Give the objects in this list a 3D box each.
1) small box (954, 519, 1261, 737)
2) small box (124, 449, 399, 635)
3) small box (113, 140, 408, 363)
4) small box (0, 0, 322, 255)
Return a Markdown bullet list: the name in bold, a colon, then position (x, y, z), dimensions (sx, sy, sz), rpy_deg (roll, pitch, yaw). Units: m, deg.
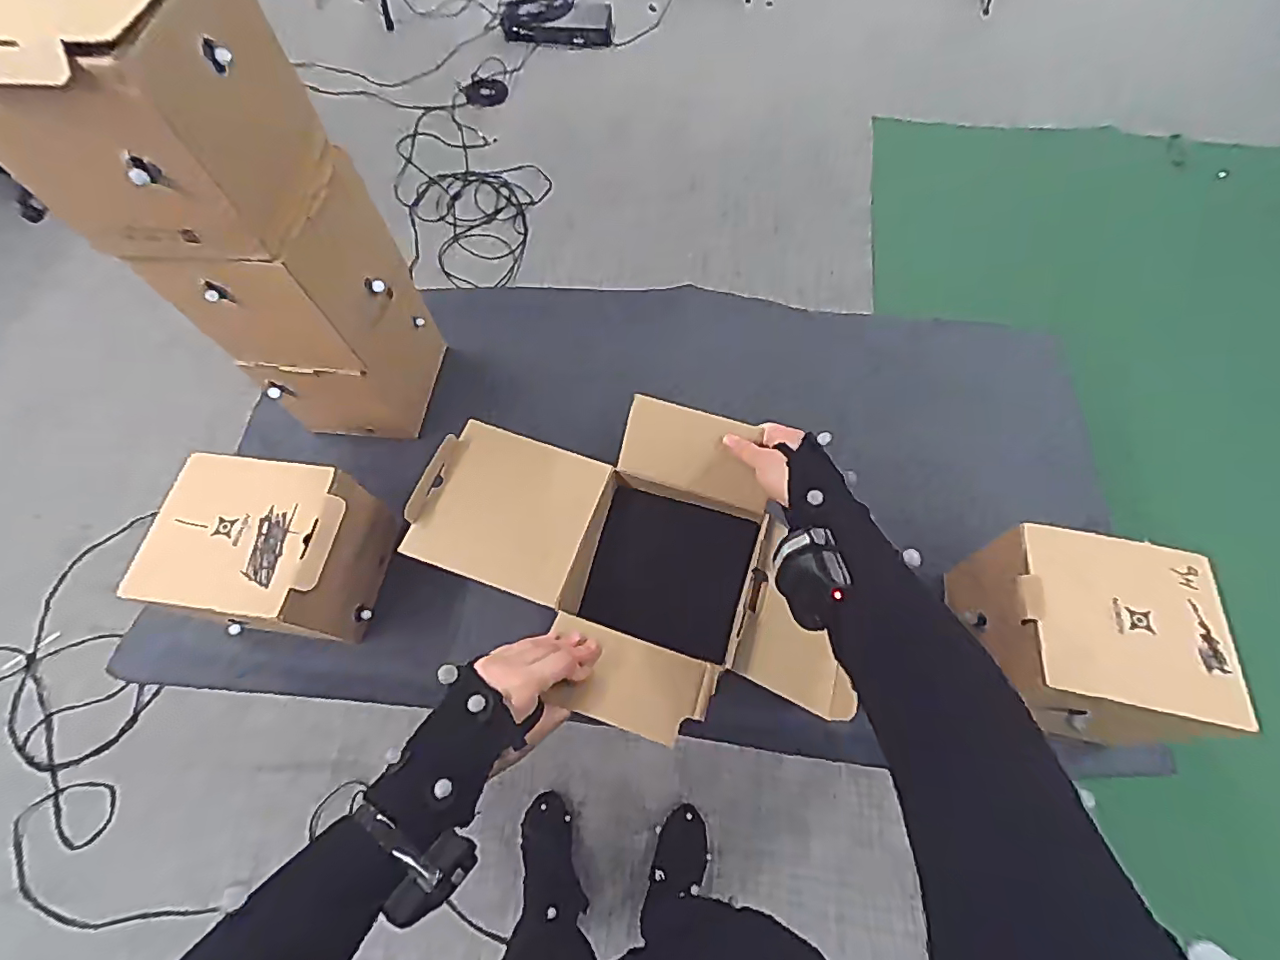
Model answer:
- **small box**: position (0.453, 0.162, 0.568), dimensions (0.179, 0.176, 0.168), rpy_deg (11, 62, 7)
- **small box**: position (-0.416, 0.081, 0.636), dimensions (0.179, 0.176, 0.168), rpy_deg (6, 66, 5)
- **small box**: position (-0.395, -0.247, 0.601), dimensions (0.179, 0.176, 0.168), rpy_deg (6, 67, 4)
- **small box**: position (-0.406, -0.314, 0.454), dimensions (0.168, 0.176, 0.179), rpy_deg (3, 65, 1)
